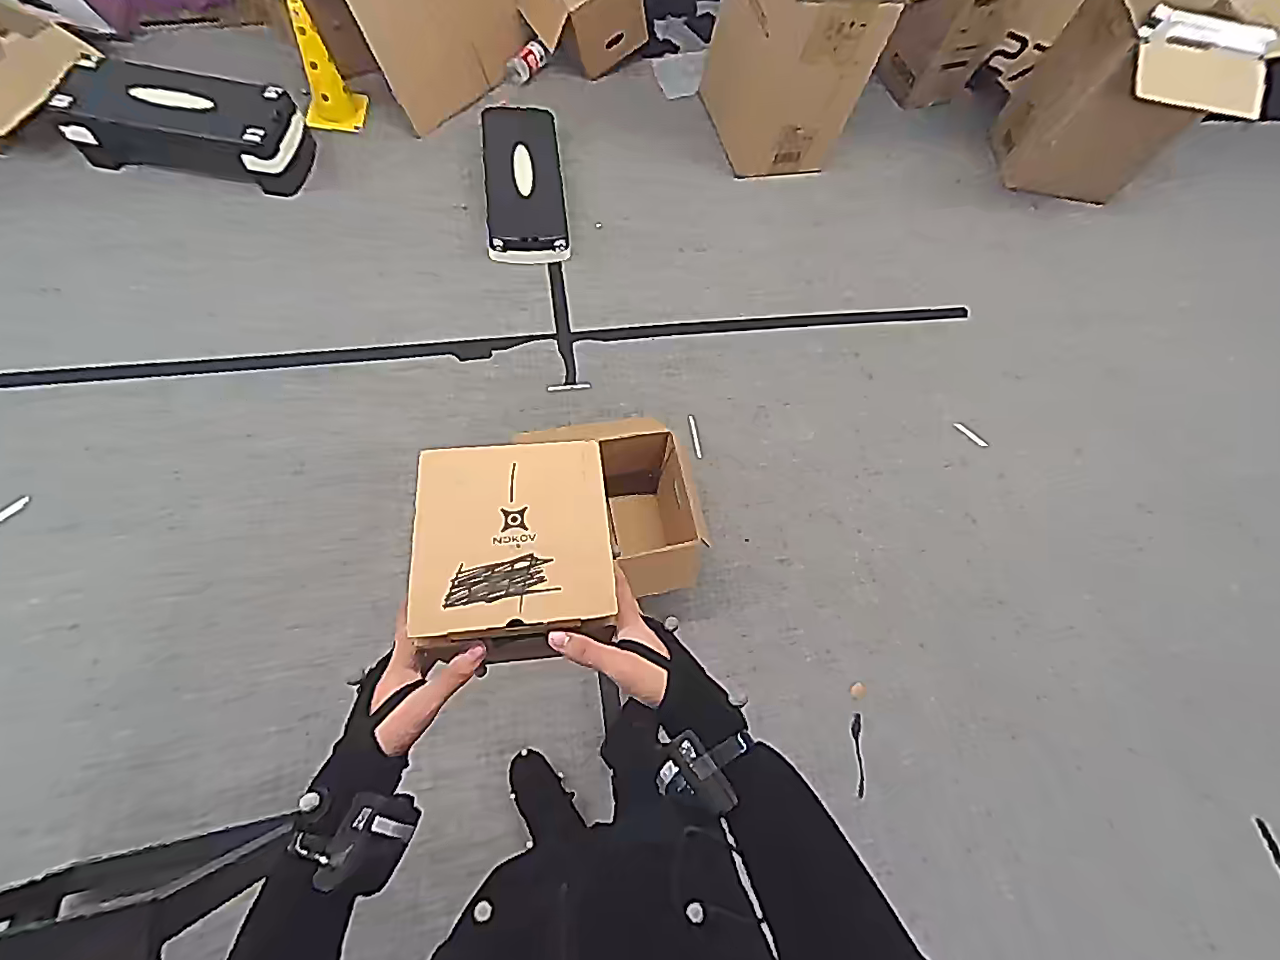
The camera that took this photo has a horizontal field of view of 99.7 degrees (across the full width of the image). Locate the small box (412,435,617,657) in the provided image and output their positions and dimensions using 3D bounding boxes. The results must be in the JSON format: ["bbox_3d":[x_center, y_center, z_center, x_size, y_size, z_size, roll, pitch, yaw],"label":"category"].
[{"bbox_3d":[-0.114,0.074,0.535,0.168,0.176,0.179,-4,65,-8],"label":"small box"}]
